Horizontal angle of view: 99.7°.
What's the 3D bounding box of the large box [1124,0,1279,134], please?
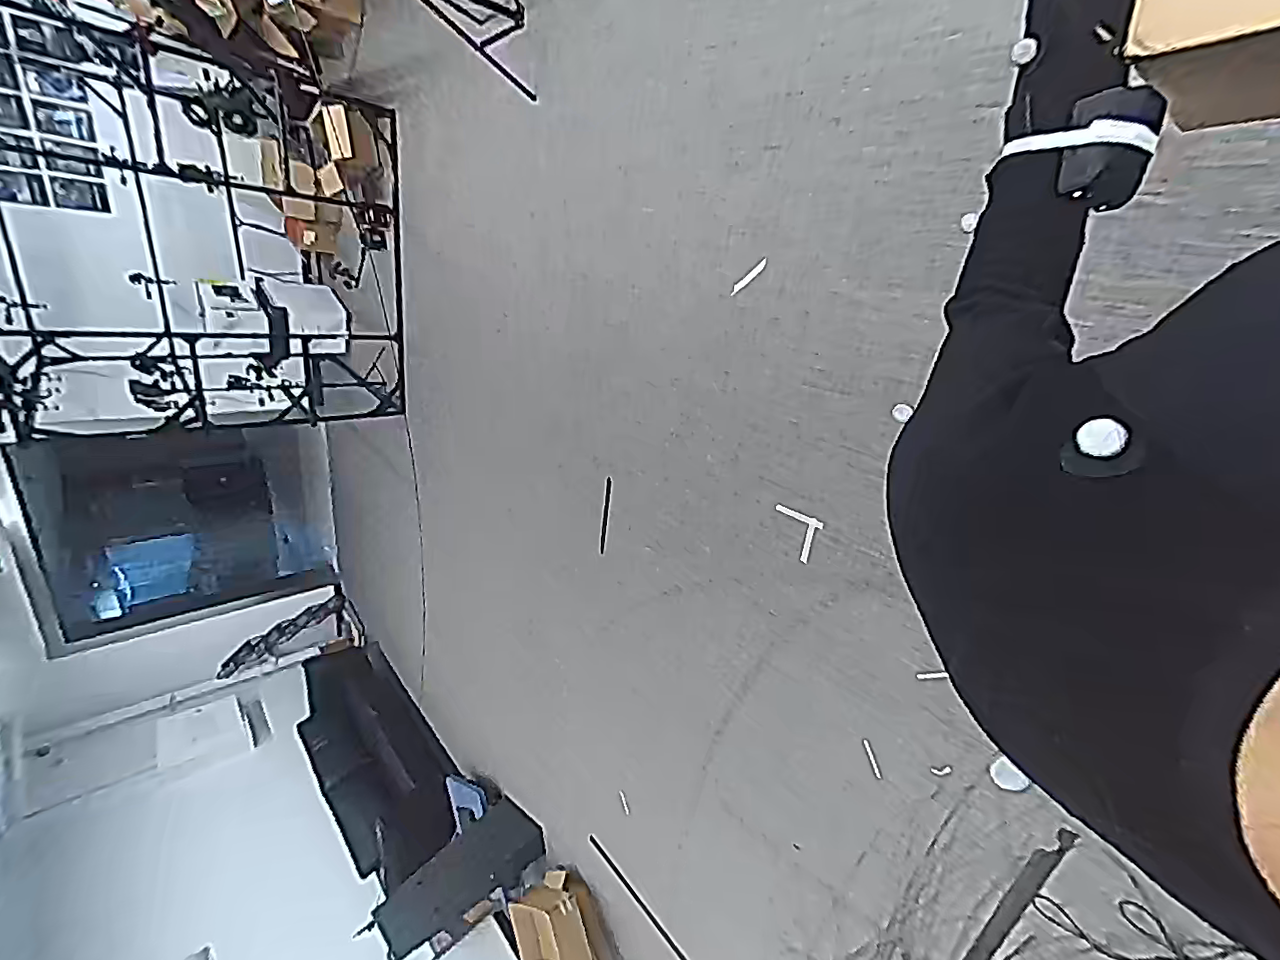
[{"bbox_3d":[0.574,-0.424,0.287,0.408,0.320,0.320,19,119,44],"label":"large box"}]
